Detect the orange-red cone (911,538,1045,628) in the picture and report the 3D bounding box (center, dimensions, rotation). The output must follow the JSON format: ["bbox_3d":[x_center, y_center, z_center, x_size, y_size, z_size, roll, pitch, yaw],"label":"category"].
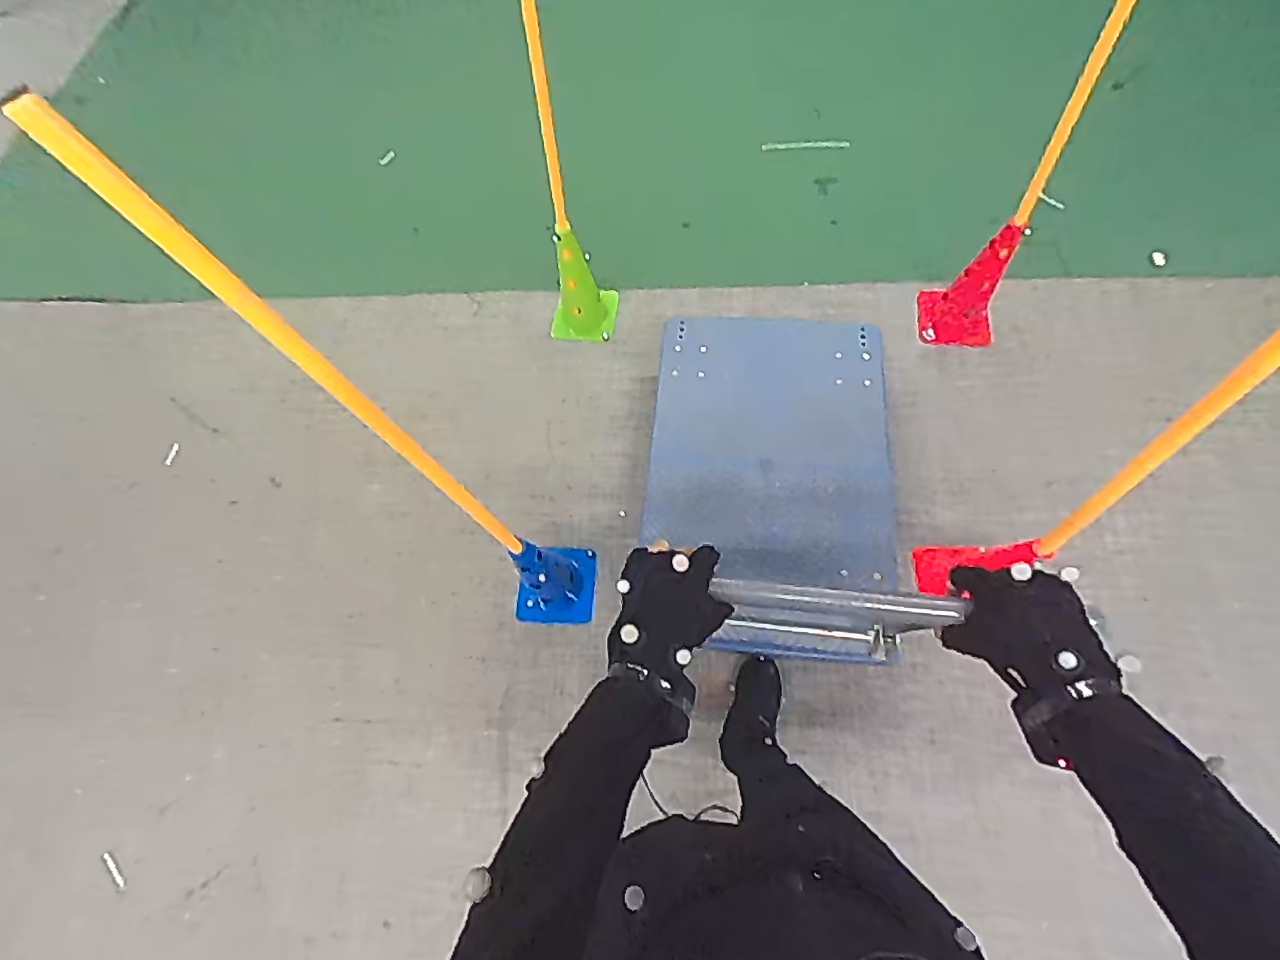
[{"bbox_3d":[0.768,0.199,1.188,0.199,0.360,0.198,0,67,7],"label":"orange-red cone"}]

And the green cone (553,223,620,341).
[{"bbox_3d":[-0.190,-0.605,1.608,0.202,0.368,0.200,5,67,8],"label":"green cone"}]
